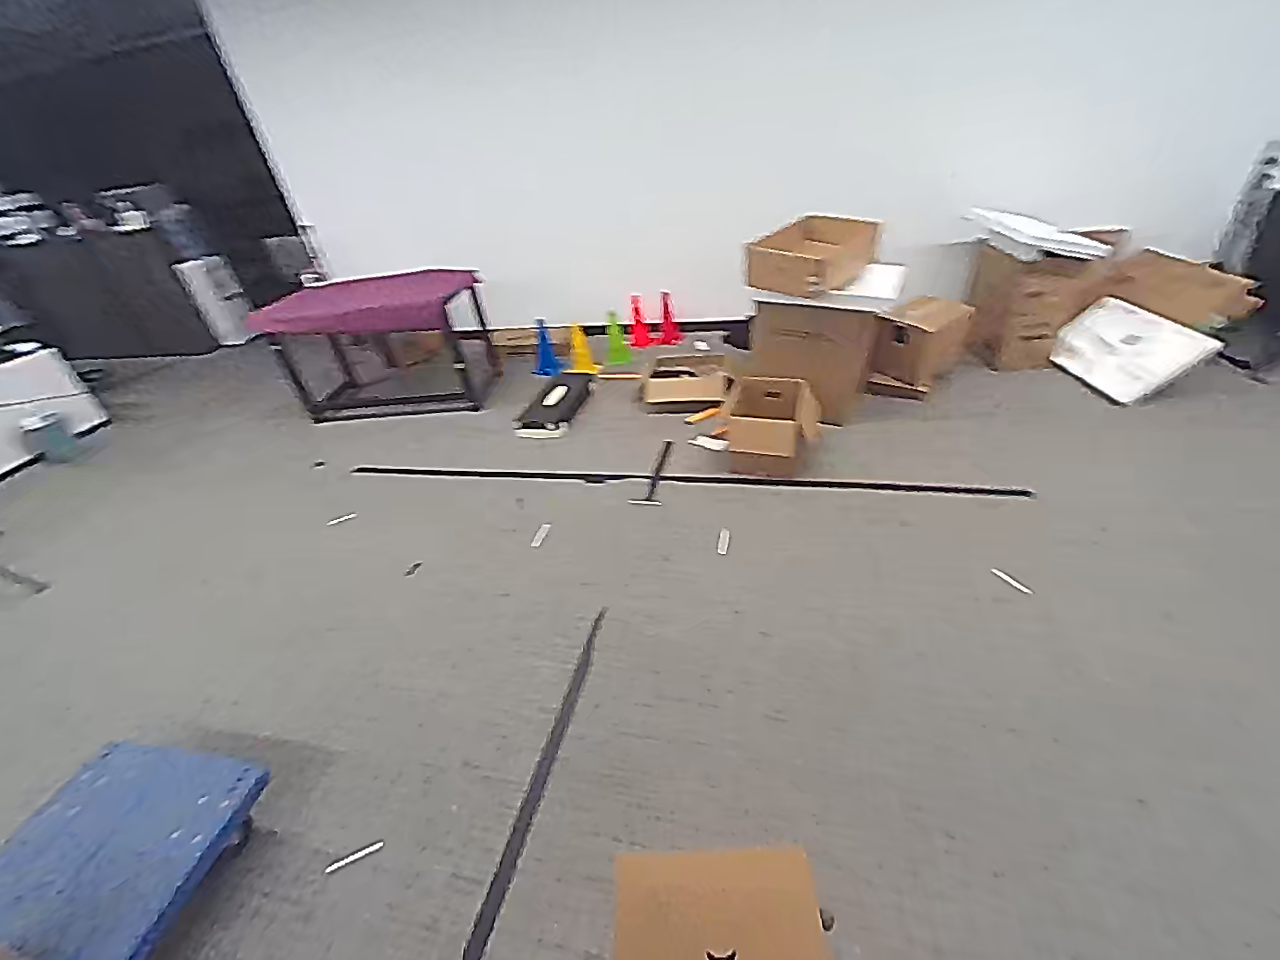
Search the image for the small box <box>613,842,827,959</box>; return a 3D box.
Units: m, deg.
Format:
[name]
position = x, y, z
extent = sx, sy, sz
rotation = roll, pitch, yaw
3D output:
[small box]
position = 0.065, 0.431, 0.453
extent = 0.168, 0.176, 0.179
rotation = -5, 43, 1
